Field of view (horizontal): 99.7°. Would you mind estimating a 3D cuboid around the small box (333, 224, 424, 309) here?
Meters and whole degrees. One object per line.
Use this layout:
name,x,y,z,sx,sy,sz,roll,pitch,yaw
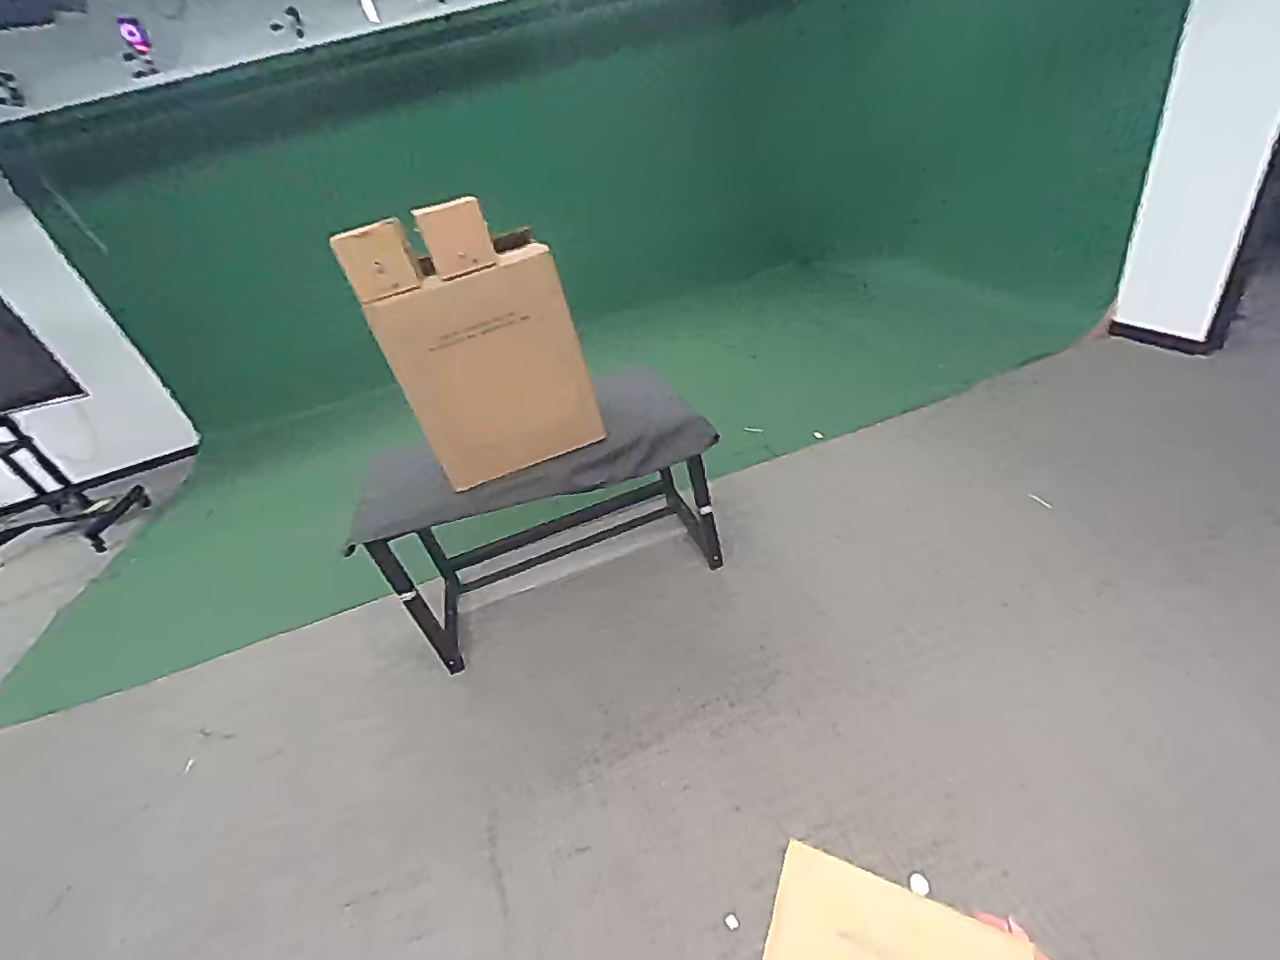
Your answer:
small box,-0.717,-0.592,1.503,0.168,0.176,0.179,-21,33,-7
